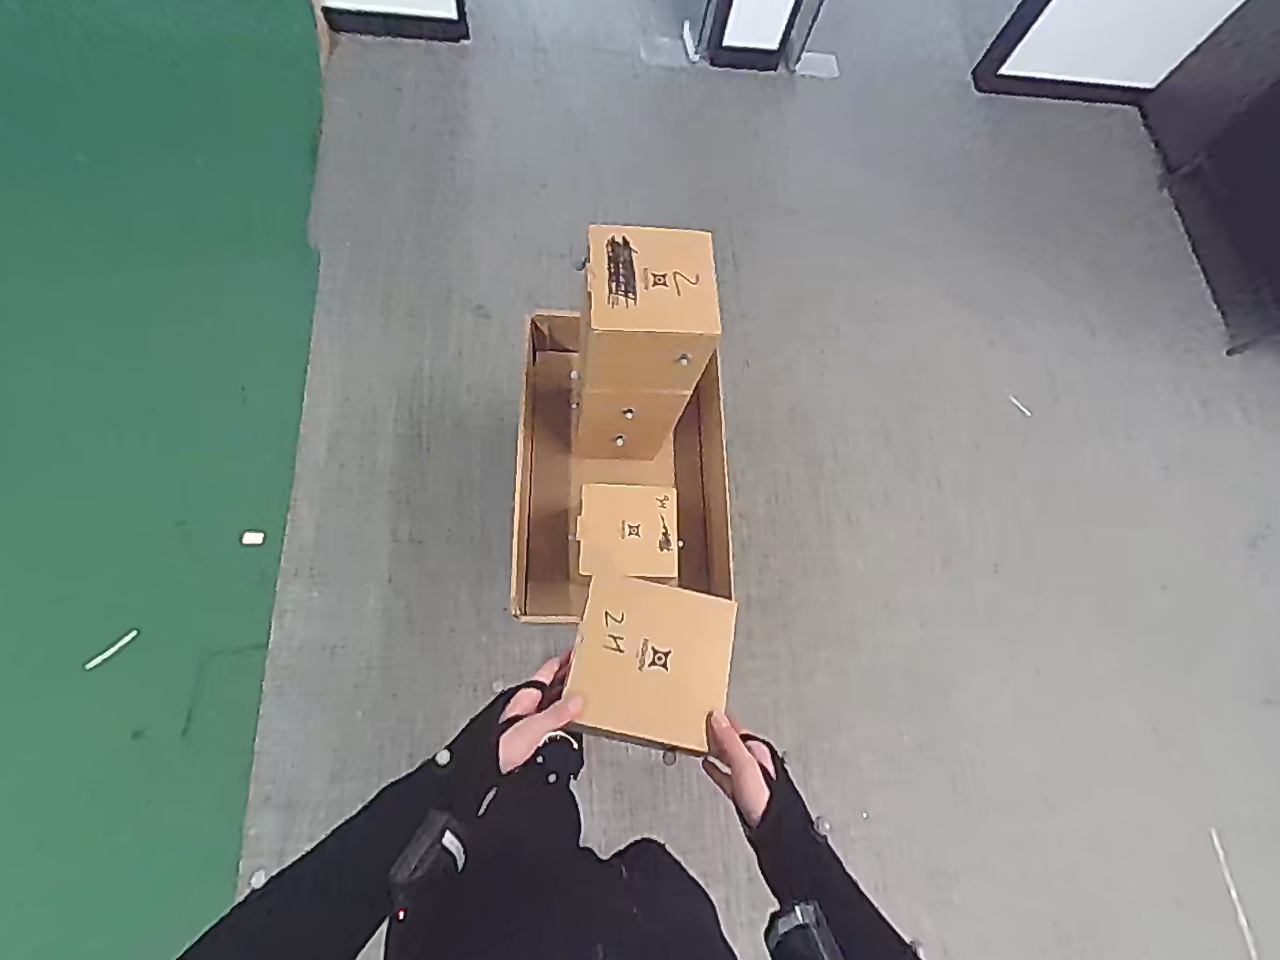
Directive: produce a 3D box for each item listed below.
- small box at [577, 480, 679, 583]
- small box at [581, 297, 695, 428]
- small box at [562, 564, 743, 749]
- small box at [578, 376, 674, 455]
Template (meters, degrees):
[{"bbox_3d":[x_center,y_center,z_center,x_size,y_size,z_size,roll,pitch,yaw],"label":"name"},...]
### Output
[{"bbox_3d":[-0.027,0.105,1.019,0.179,0.176,0.168,3,72,-7],"label":"small box"},{"bbox_3d":[-0.011,-0.197,0.943,0.179,0.176,0.168,0,74,-8],"label":"small box"},{"bbox_3d":[0.012,0.222,0.664,0.179,0.176,0.168,13,62,1],"label":"small box"},{"bbox_3d":[-0.034,-0.154,1.100,0.179,0.176,0.168,1,73,-8],"label":"small box"}]
